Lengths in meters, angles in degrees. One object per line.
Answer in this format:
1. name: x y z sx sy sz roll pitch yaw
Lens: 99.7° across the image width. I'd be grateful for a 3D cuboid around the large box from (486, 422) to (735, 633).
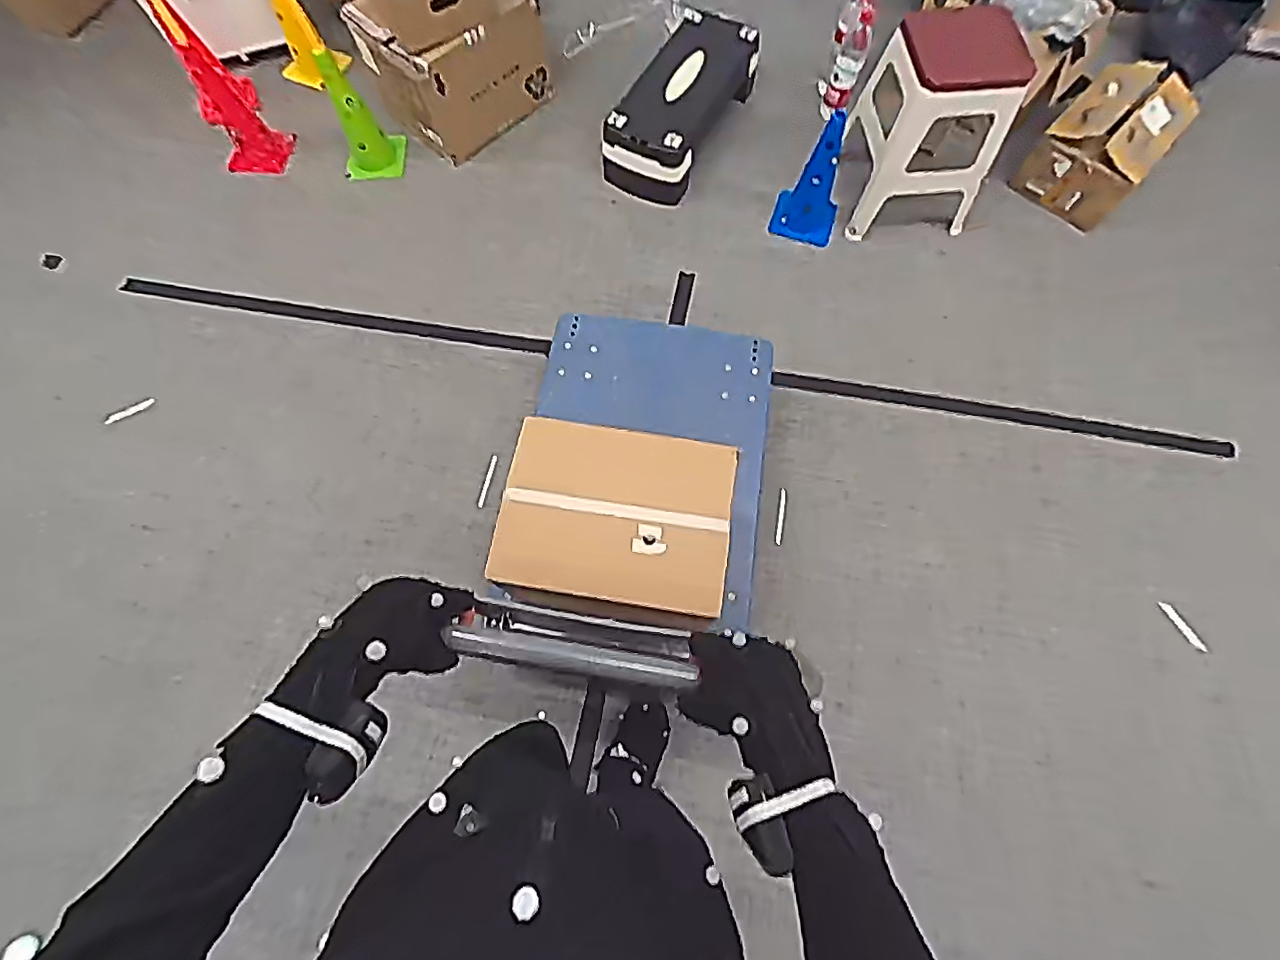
1. large box: -0.047 0.111 1.087 0.408 0.320 0.320 9 71 2
